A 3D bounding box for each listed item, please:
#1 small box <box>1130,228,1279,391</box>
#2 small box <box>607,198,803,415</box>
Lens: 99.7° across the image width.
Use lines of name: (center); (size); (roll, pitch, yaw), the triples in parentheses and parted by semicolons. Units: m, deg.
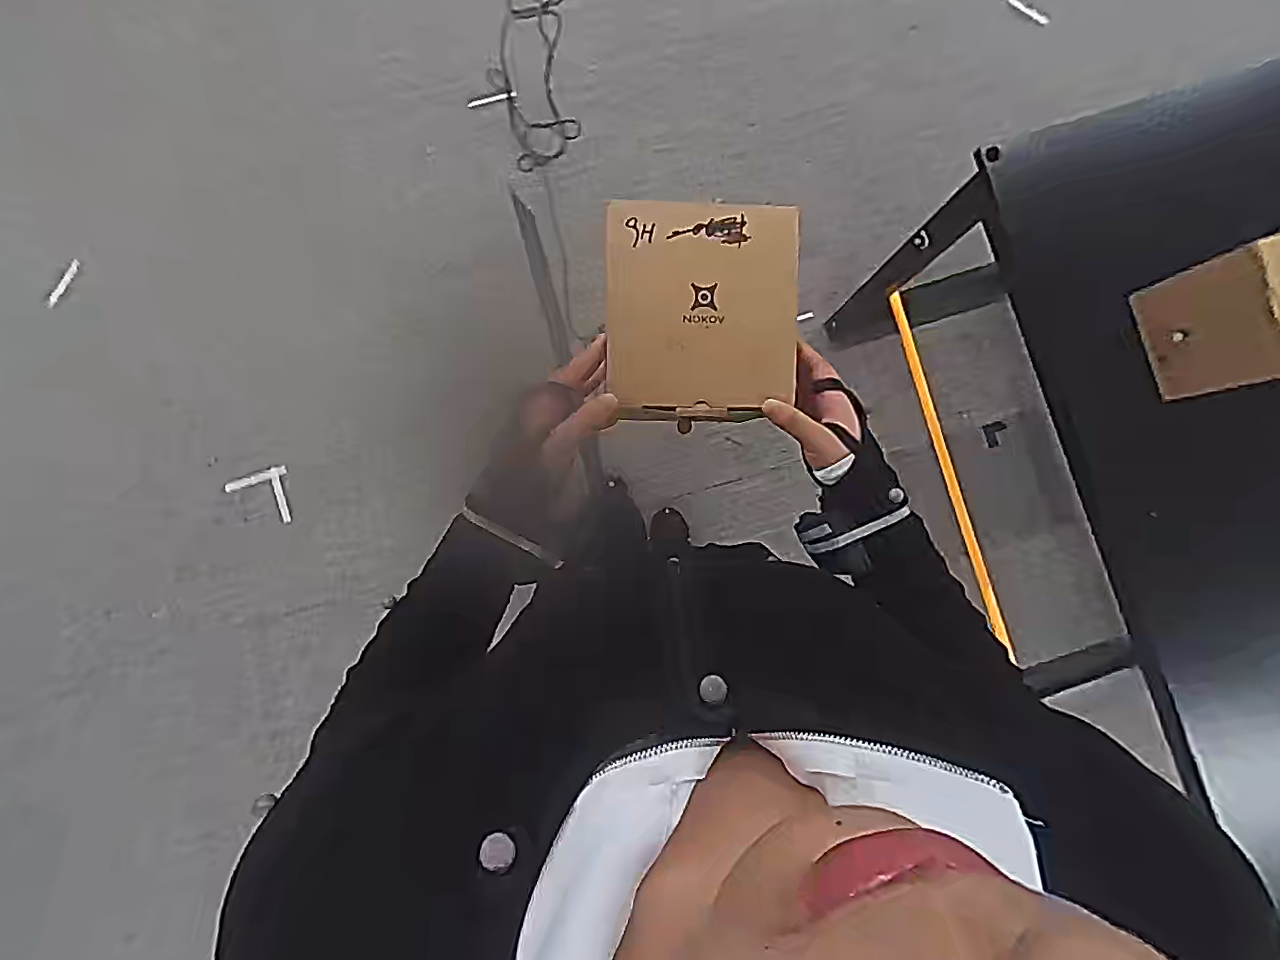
small box: (0.831, -0.232, 0.725); (0.179, 0.176, 0.168); (-16, 87, -2)
small box: (0.051, -0.155, 0.542); (0.168, 0.176, 0.179); (0, 94, -4)
